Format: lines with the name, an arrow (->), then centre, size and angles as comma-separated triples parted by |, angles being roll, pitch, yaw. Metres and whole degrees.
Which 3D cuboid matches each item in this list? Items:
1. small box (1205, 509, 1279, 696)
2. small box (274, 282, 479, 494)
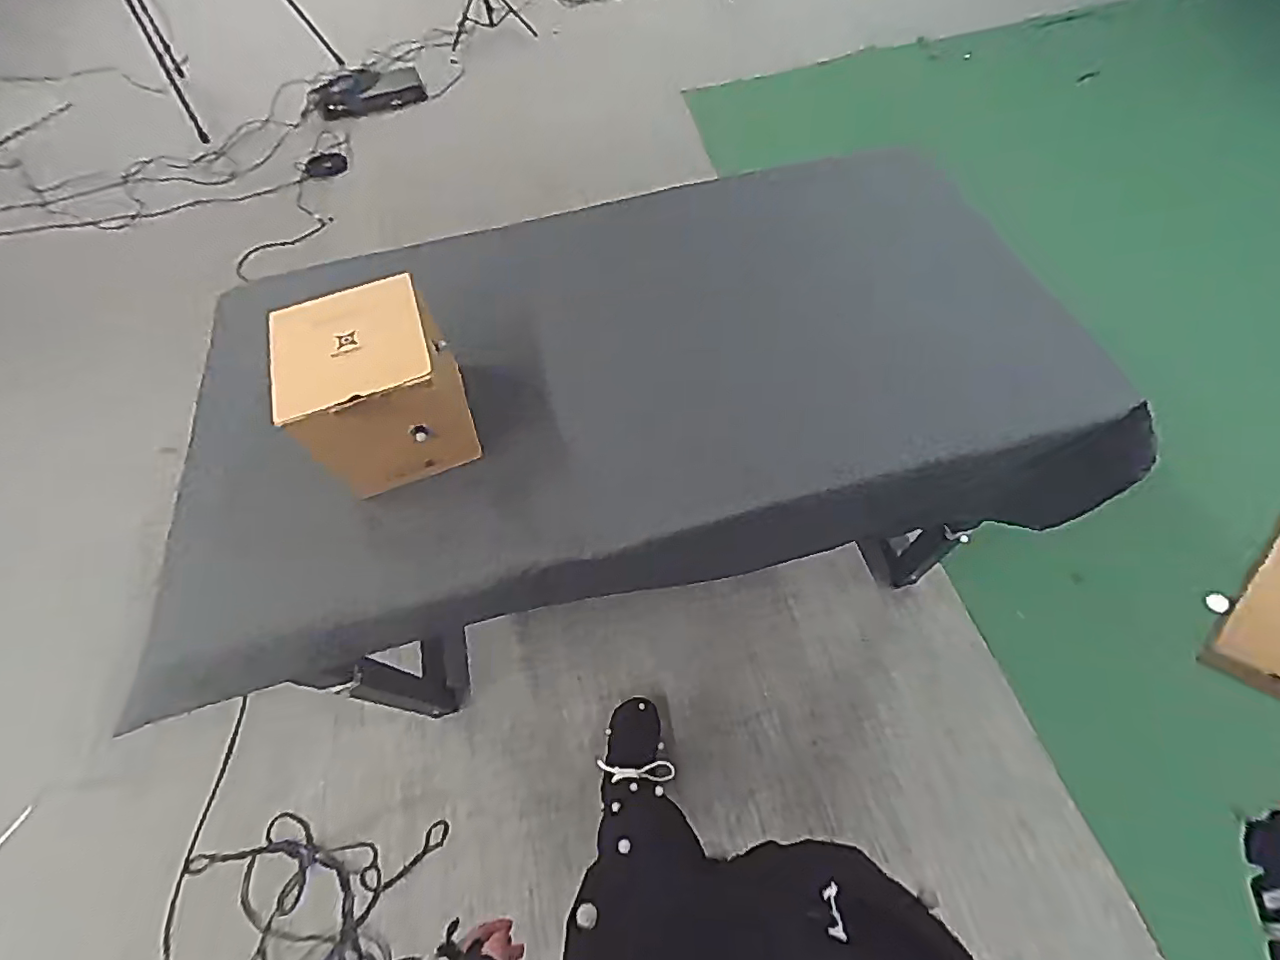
small box -> 0.565, 0.100, 0.396 | 0.168, 0.176, 0.179 | 30, 96, 44
small box -> -0.313, -0.103, 0.664 | 0.168, 0.176, 0.179 | -20, 59, -8
